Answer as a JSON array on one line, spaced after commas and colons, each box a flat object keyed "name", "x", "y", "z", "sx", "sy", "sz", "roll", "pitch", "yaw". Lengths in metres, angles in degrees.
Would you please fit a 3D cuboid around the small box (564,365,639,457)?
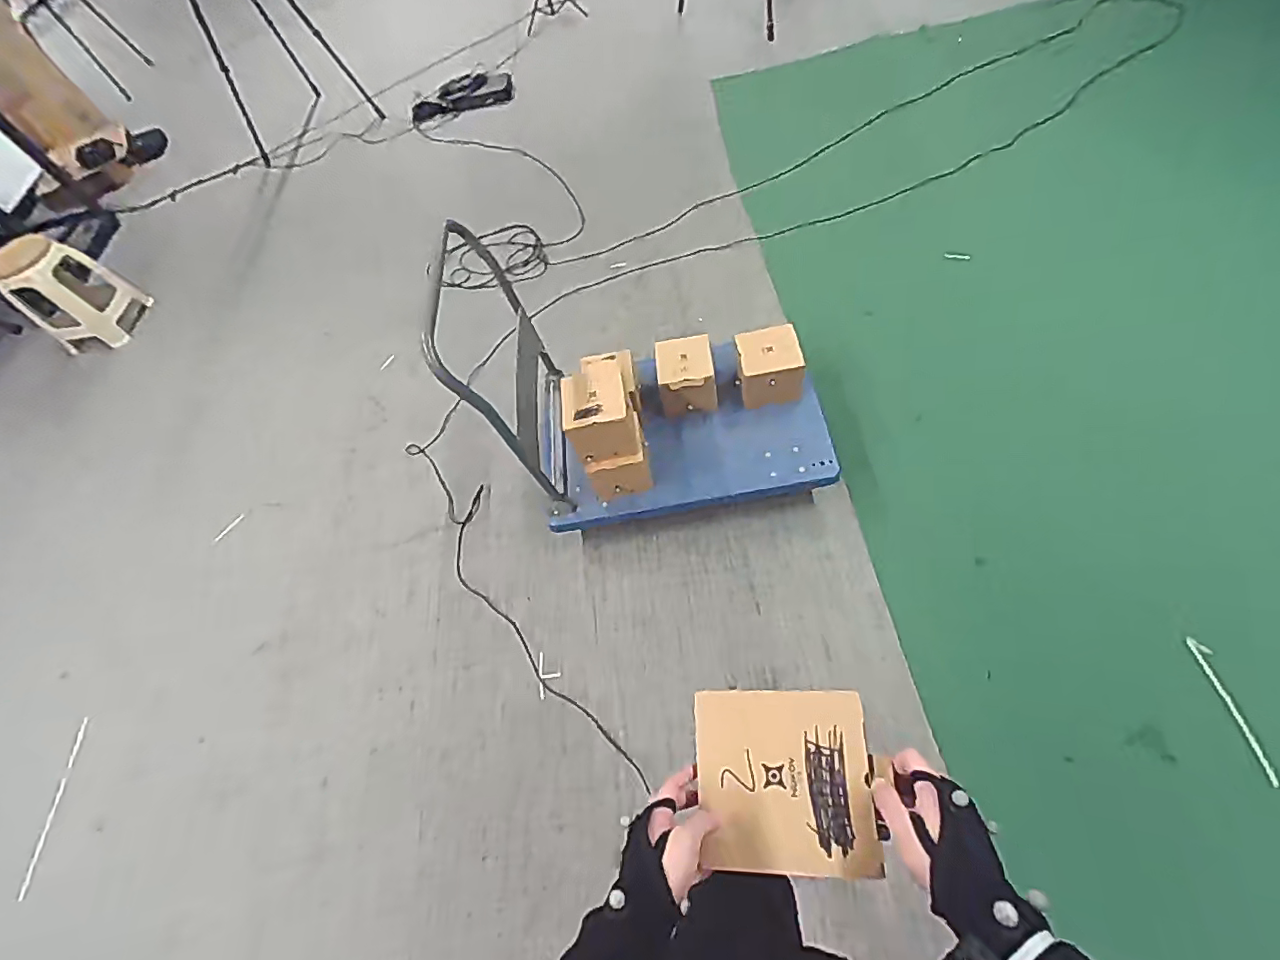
[{"name": "small box", "x": -0.101, "y": -0.176, "z": 1.451, "sx": 0.168, "sy": 0.176, "sz": 0.179, "roll": -9, "pitch": 58, "yaw": 5}]

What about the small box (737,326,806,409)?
[{"name": "small box", "x": 0.394, "y": -0.334, "z": 1.634, "sx": 0.179, "sy": 0.176, "sz": 0.168, "roll": -9, "pitch": 60, "yaw": 7}]

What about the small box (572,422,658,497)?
[{"name": "small box", "x": -0.067, "y": -0.071, "z": 1.586, "sx": 0.179, "sy": 0.176, "sz": 0.168, "roll": 17, "pitch": 67, "yaw": 21}]
